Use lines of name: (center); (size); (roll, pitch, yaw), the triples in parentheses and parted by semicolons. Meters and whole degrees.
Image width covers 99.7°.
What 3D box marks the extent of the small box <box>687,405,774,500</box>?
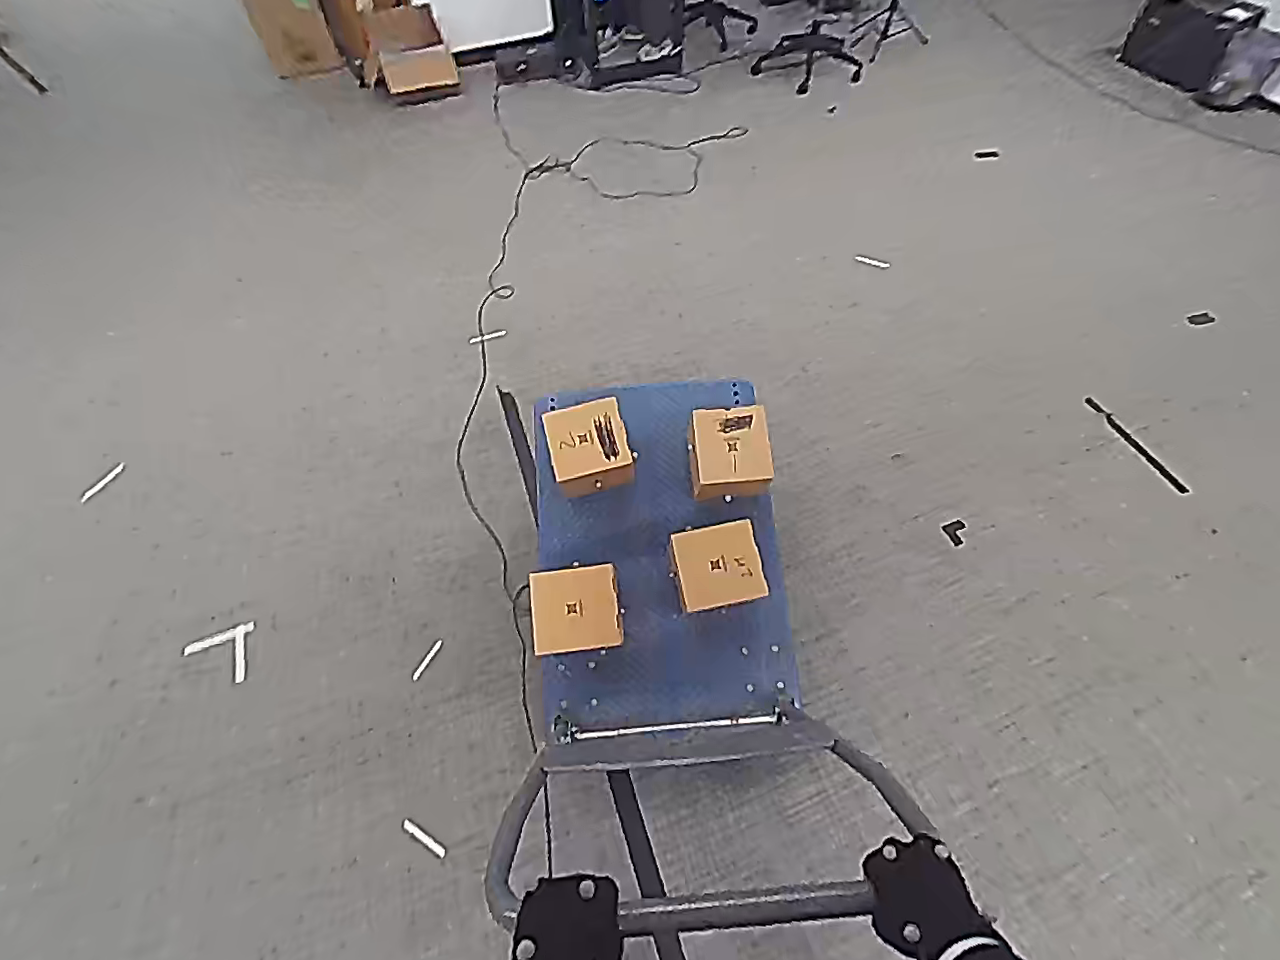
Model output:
small box: (0.204, -0.060, 1.271); (0.168, 0.176, 0.179); (-5, 76, 0)

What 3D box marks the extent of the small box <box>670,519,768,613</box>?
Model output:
small box: (0.166, 0.198, 1.200); (0.179, 0.176, 0.168); (-12, 75, -2)

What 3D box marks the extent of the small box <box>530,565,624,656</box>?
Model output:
small box: (-0.132, 0.288, 1.181); (0.179, 0.176, 0.168); (-8, 75, -3)
